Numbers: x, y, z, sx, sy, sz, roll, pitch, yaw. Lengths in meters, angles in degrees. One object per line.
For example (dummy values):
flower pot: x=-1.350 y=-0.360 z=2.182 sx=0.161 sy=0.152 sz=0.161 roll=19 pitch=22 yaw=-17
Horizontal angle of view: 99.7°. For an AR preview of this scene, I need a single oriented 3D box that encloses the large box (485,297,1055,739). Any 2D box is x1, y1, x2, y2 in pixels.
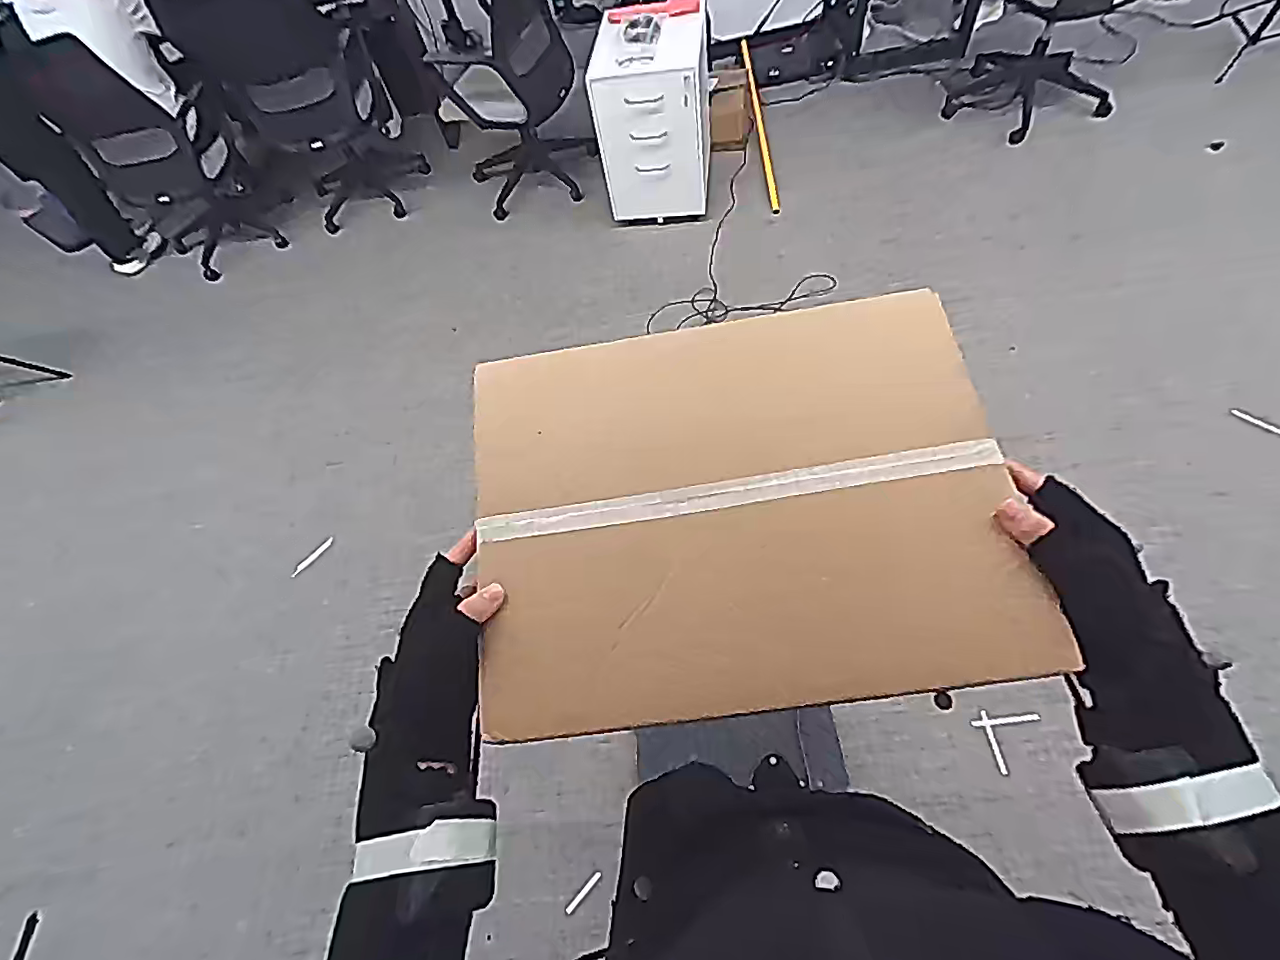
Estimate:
large box: x=0.092 y=0.063 z=0.573 sx=0.408 sy=0.320 sz=0.320 roll=-9 pitch=69 yaw=4
